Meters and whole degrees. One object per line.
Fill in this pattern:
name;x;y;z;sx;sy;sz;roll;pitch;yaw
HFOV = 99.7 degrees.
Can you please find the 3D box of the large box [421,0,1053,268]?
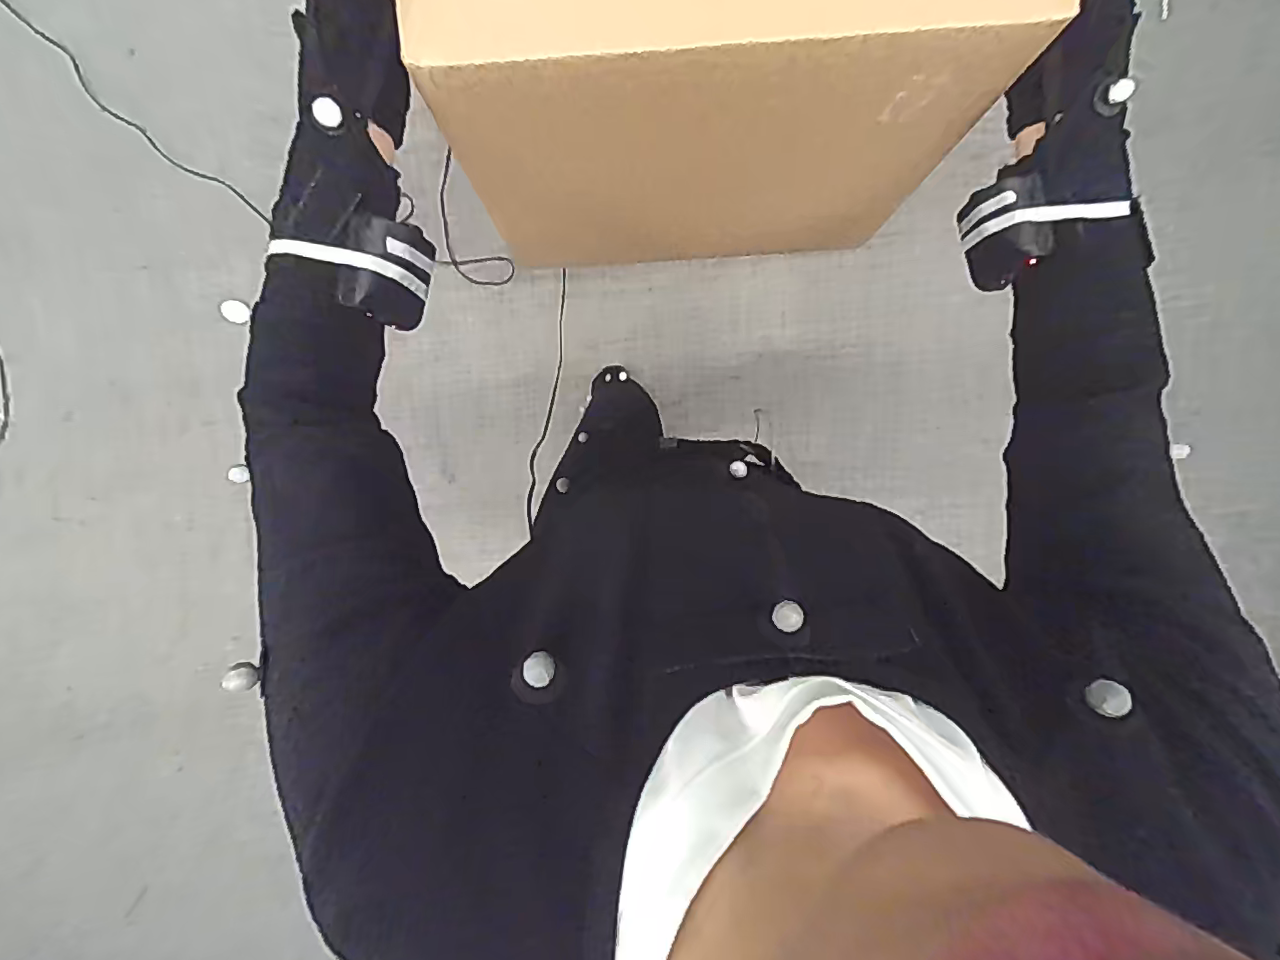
large box;0.047;-0.418;0.489;0.408;0.320;0.320;-5;89;-1
